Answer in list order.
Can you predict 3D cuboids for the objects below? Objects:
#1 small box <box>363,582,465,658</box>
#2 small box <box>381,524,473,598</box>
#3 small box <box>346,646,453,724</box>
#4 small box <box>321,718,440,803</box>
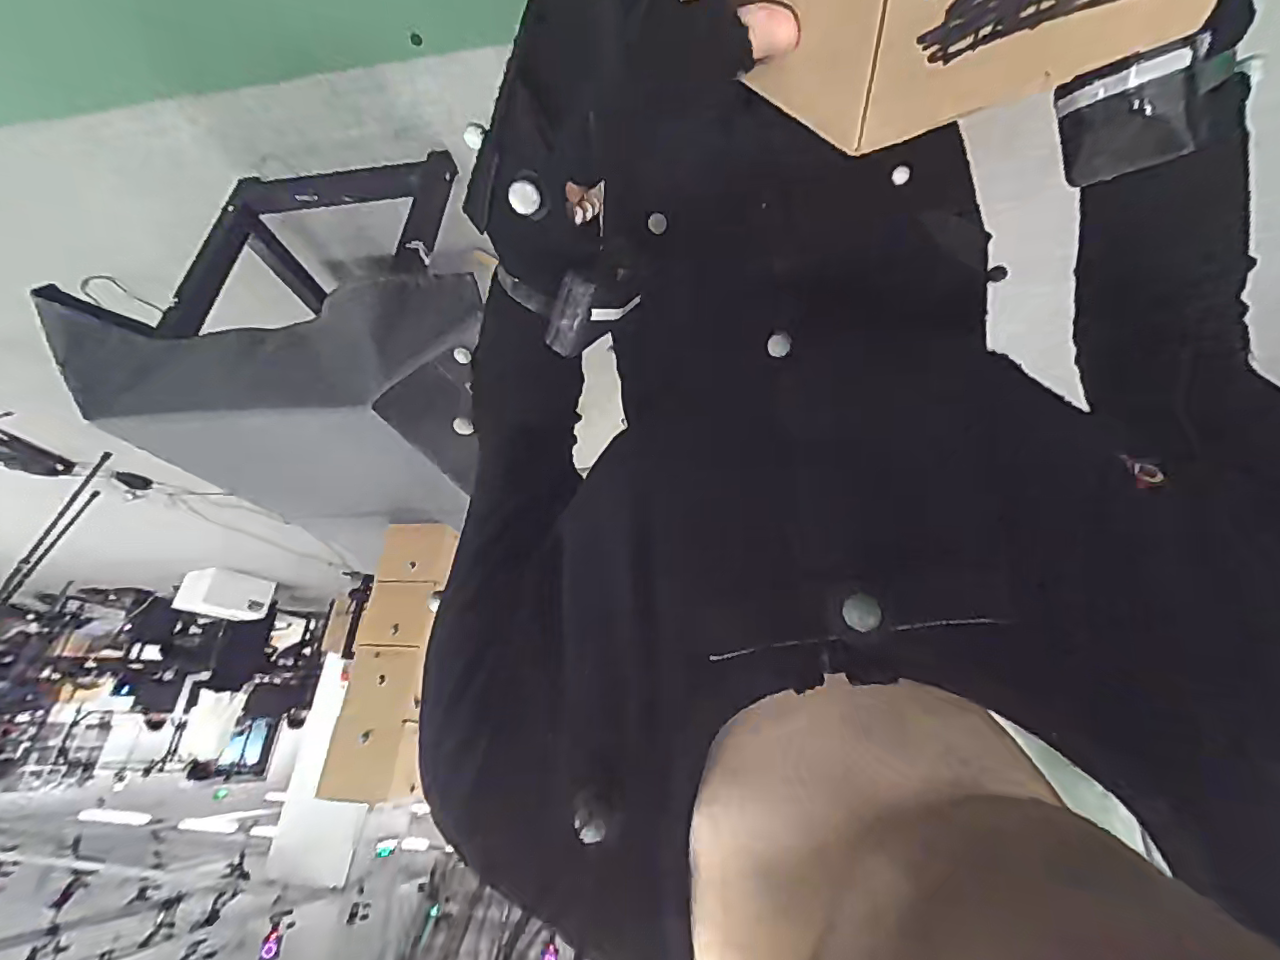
[{"bbox_3d":[-0.592,0.373,1.441,0.179,0.176,0.168,-2,153,10],"label":"small box"},{"bbox_3d":[-0.585,0.228,1.514,0.179,0.176,0.168,-1,154,10],"label":"small box"},{"bbox_3d":[-0.598,0.519,1.366,0.168,0.176,0.179,-1,153,8],"label":"small box"},{"bbox_3d":[-0.607,0.664,1.289,0.179,0.176,0.168,0,153,7],"label":"small box"}]
